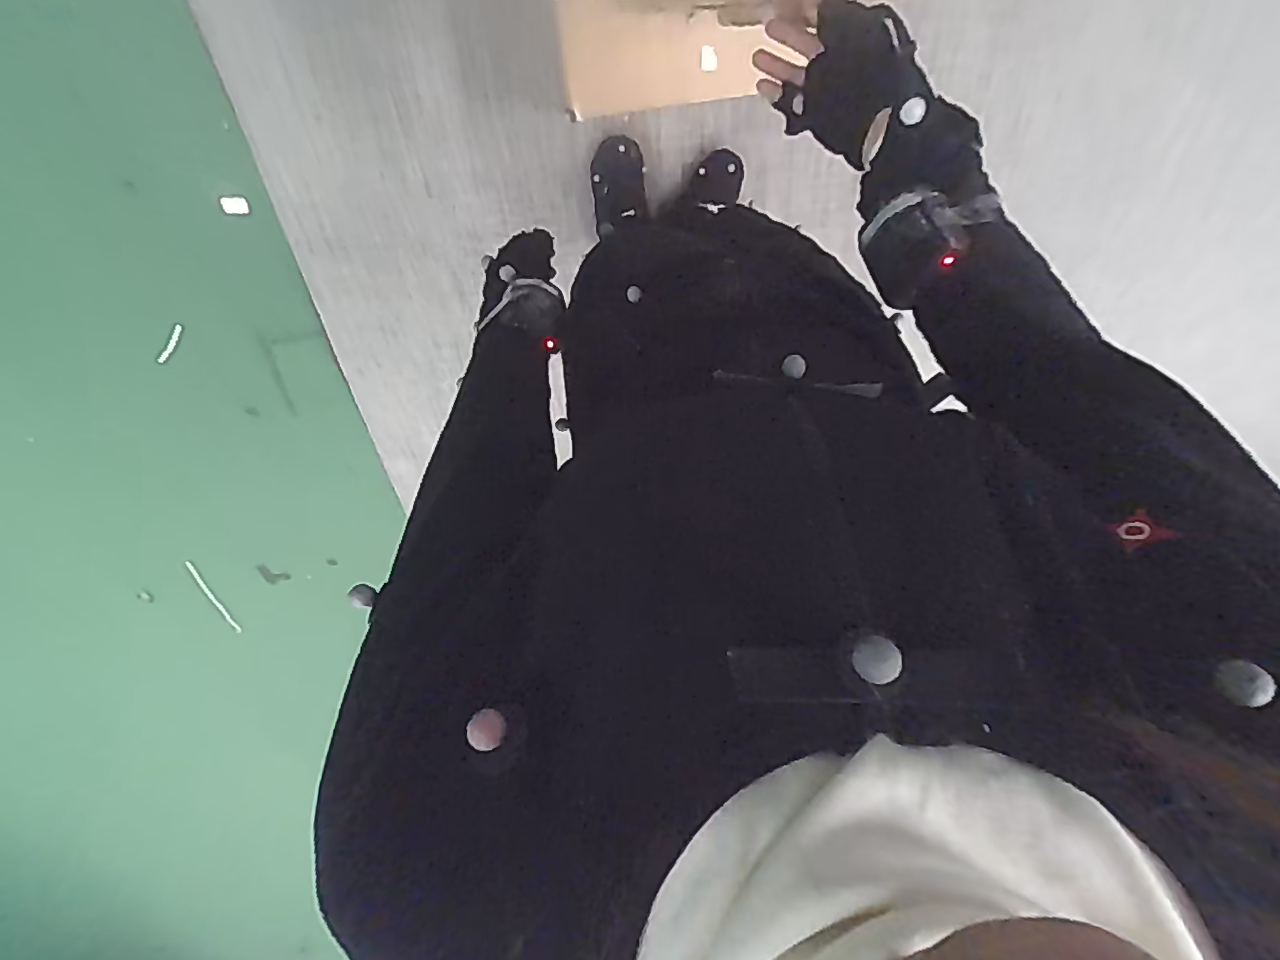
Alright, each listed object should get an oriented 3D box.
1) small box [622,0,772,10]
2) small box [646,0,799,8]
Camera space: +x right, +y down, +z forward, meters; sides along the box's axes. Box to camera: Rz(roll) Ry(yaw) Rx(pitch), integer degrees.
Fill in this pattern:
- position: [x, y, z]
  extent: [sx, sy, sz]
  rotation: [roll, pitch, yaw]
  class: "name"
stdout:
- position: [0.069, -0.684, 0.655]
  extent: [0.179, 0.176, 0.168]
  rotation: [-4, 129, -6]
  class: "small box"
- position: [0.084, -0.584, 0.532]
  extent: [0.168, 0.176, 0.179]
  rotation: [-7, 130, -5]
  class: "small box"
